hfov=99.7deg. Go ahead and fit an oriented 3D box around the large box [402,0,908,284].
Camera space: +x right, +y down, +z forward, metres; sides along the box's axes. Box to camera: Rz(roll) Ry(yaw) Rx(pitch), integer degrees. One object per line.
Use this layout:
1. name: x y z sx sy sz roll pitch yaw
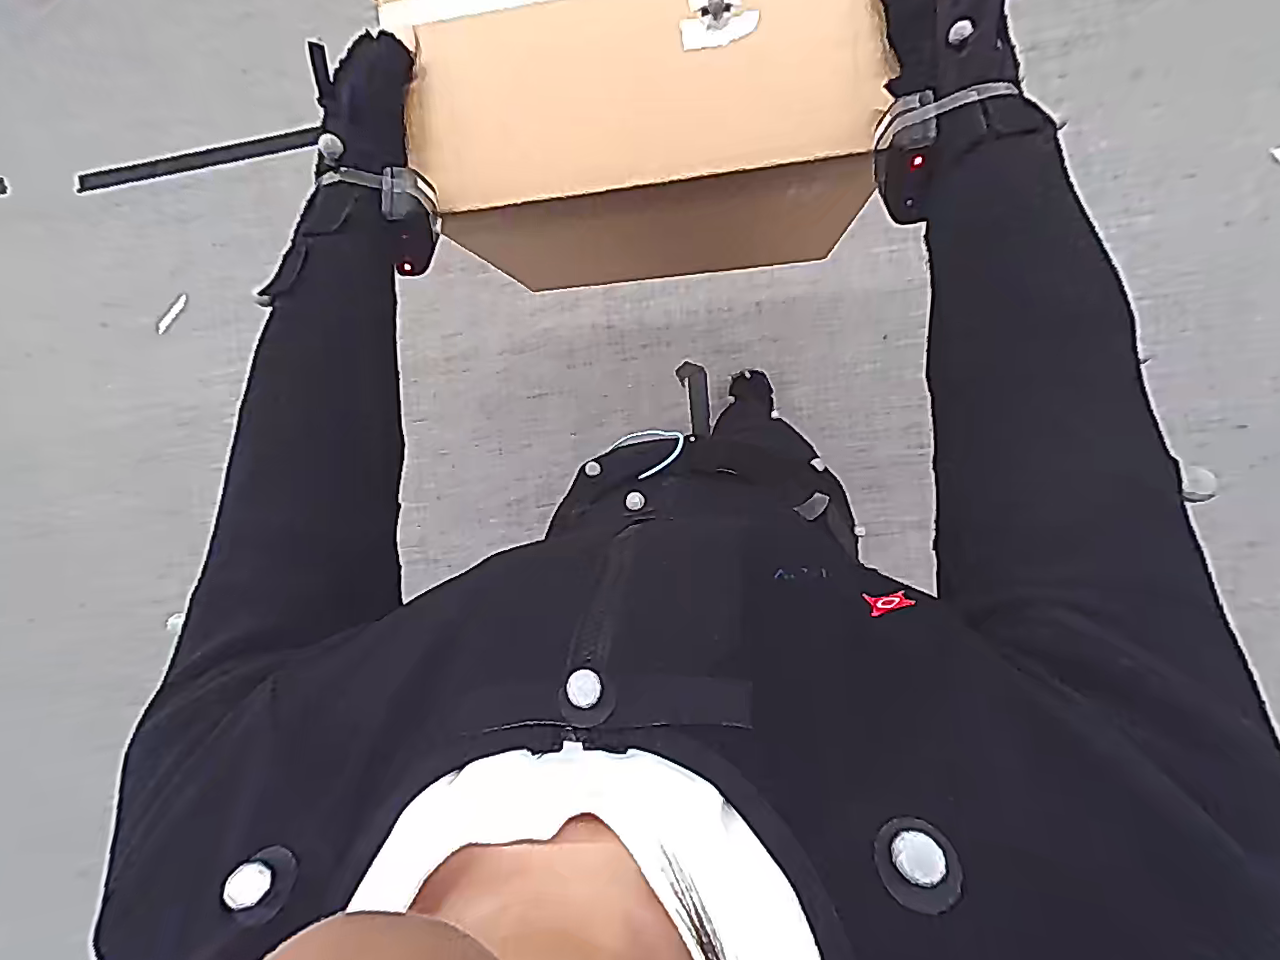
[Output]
1. large box: 0.014 -0.423 0.572 0.408 0.320 0.320 -4 98 8
